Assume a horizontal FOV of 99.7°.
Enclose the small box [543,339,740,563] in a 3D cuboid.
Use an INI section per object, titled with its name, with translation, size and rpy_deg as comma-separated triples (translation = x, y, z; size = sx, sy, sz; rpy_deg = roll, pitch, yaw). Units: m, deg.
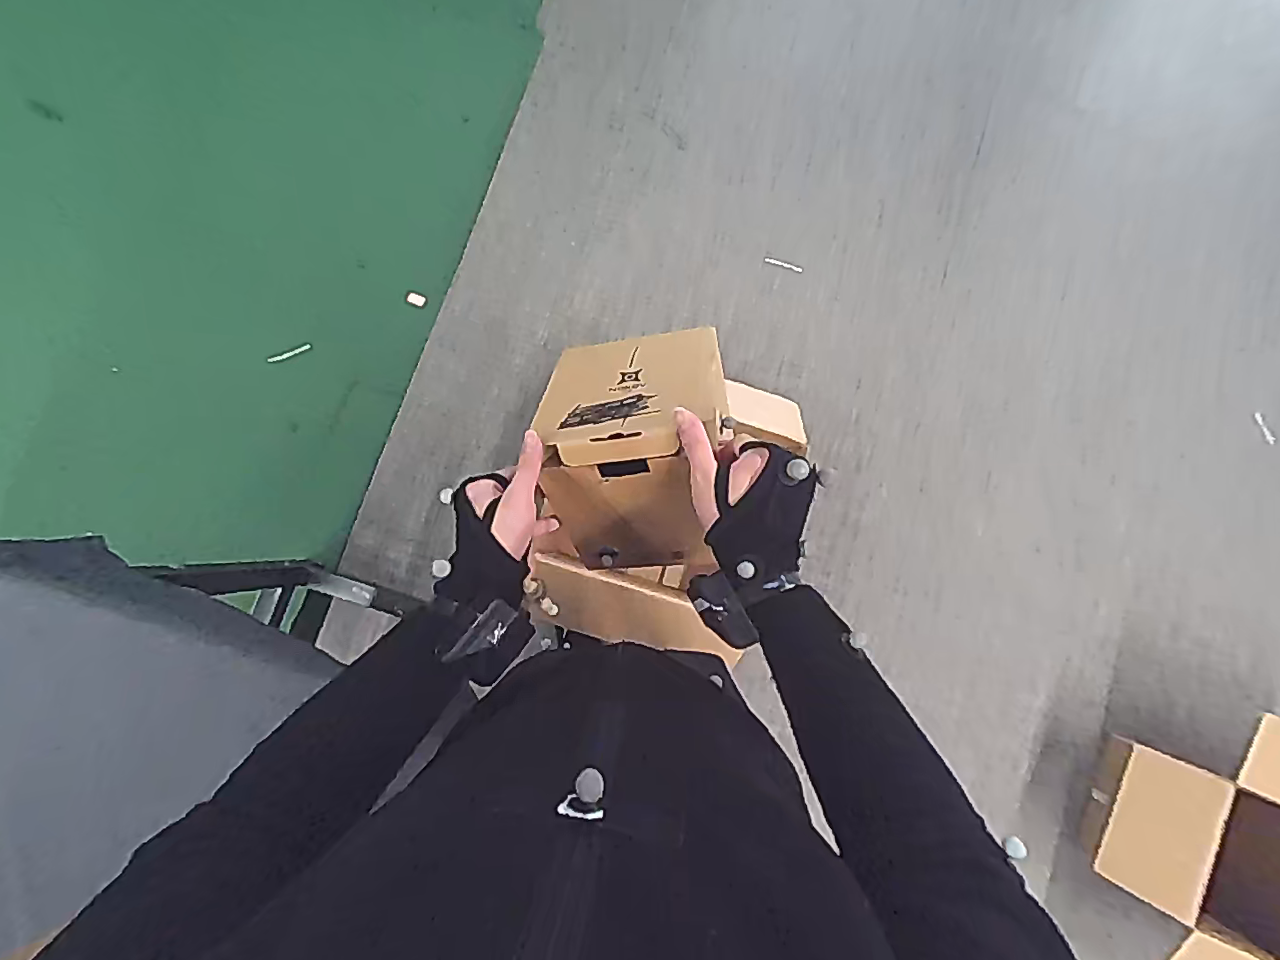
[small box]
translation = 0.016, -0.022, 0.579
size = 0.168, 0.176, 0.179
rpy_deg = -5, 47, 13
